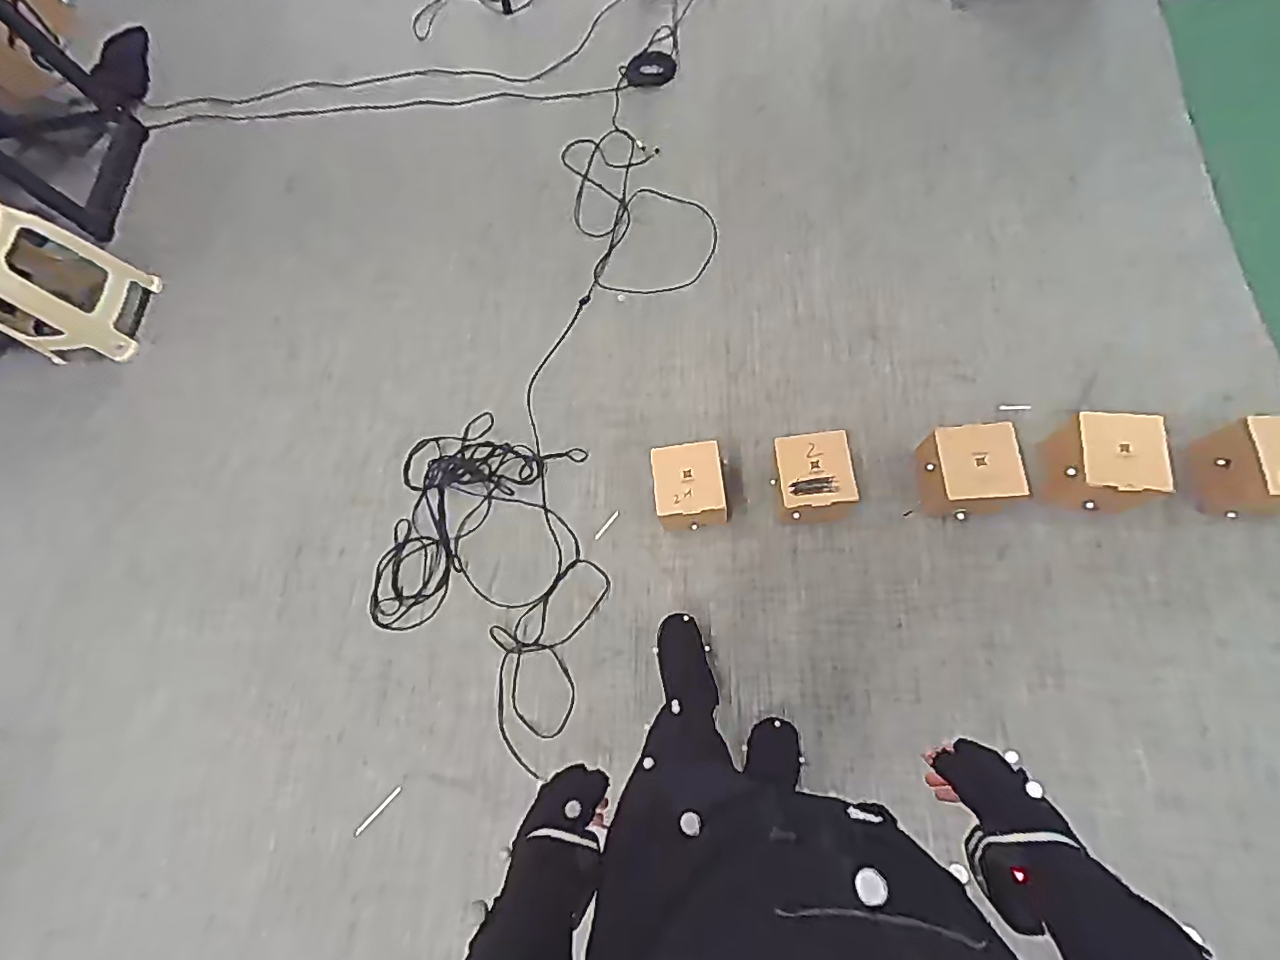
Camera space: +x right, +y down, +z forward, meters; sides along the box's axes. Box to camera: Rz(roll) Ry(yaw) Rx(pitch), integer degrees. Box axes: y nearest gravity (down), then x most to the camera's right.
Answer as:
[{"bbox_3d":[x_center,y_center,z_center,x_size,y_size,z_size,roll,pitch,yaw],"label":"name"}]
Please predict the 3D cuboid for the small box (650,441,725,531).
[{"bbox_3d":[0.121,0.019,1.367,0.168,0.176,0.179,-8,71,7],"label":"small box"}]

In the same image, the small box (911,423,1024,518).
[{"bbox_3d":[0.762,-0.017,1.281,0.168,0.176,0.179,-5,73,9],"label":"small box"}]

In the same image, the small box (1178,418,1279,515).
[{"bbox_3d":[1.359,-0.024,1.192,0.168,0.176,0.179,0,71,9],"label":"small box"}]

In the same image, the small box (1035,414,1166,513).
[{"bbox_3d":[1.044,-0.035,1.244,0.168,0.176,0.179,5,73,10],"label":"small box"}]
